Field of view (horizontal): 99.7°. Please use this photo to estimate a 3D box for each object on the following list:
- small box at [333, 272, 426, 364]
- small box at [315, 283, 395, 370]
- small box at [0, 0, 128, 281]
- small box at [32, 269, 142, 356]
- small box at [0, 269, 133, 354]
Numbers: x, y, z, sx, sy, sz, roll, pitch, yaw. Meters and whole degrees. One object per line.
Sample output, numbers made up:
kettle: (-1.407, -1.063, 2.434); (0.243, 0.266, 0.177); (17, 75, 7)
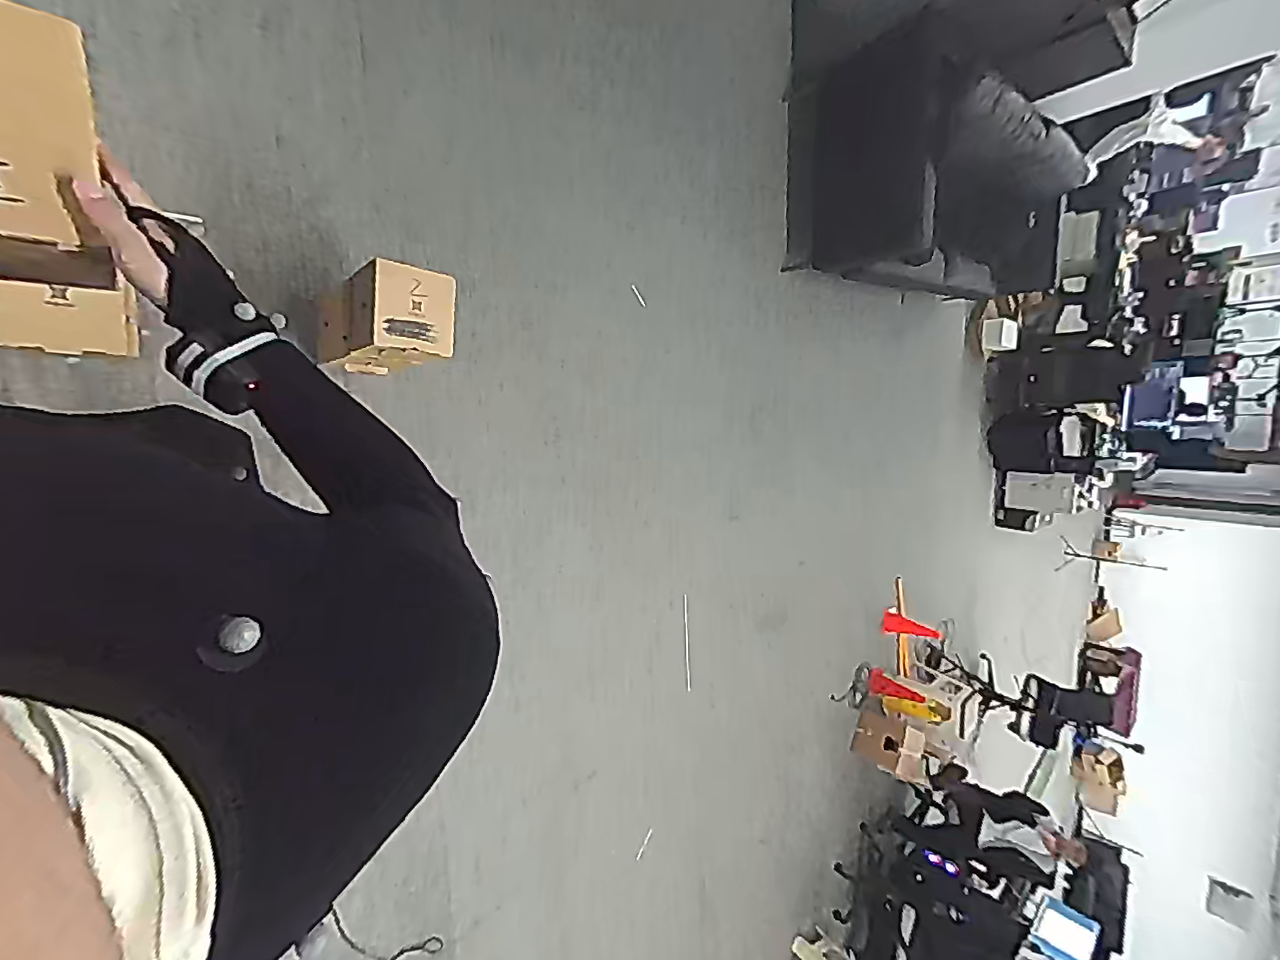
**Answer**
small box: (-0.633, -0.381, 1.308); (0.168, 0.176, 0.179); (-1, 97, -42)
small box: (-0.744, -0.394, 1.423); (0.168, 0.176, 0.179); (6, 93, -40)
small box: (-0.546, -0.274, 0.443); (0.168, 0.176, 0.179); (-8, 99, -41)
small box: (-1.131, -0.345, 1.092); (0.179, 0.176, 0.168); (-3, 98, -42)
small box: (-1.027, -0.323, 0.967); (0.168, 0.176, 0.179); (-3, 99, -41)
